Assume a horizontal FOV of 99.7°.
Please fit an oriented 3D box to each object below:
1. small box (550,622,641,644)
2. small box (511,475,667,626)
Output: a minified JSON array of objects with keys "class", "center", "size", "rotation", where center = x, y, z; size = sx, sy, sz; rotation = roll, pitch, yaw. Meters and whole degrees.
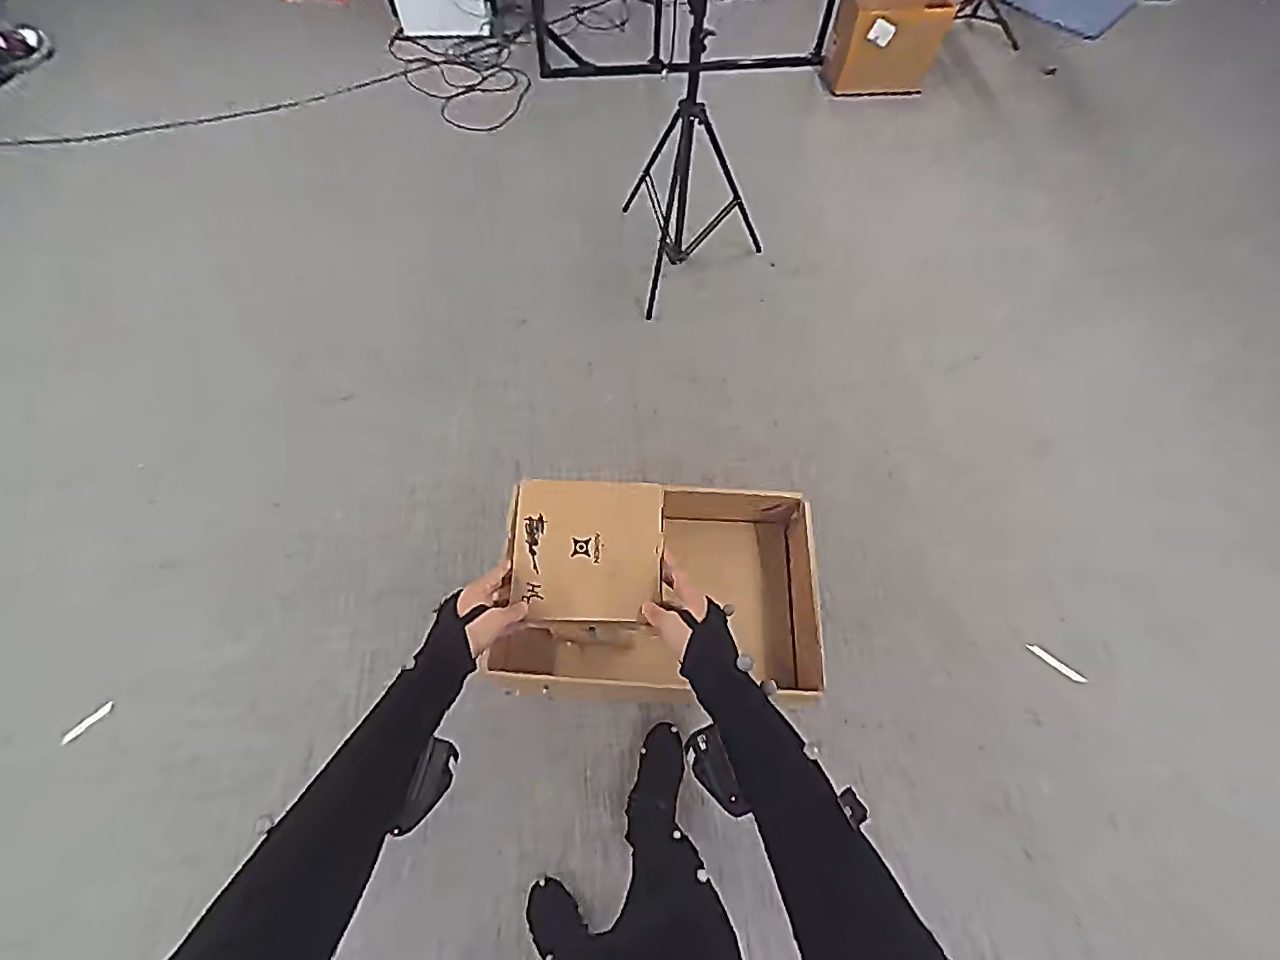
[{"class":"small box","center":[-0.075,0.221,1.077],"size":[0.168,0.176,0.179],"rotation":[6,62,2]},{"class":"small box","center":[-0.060,0.100,0.711],"size":[0.179,0.176,0.168],"rotation":[2,71,-1]}]
